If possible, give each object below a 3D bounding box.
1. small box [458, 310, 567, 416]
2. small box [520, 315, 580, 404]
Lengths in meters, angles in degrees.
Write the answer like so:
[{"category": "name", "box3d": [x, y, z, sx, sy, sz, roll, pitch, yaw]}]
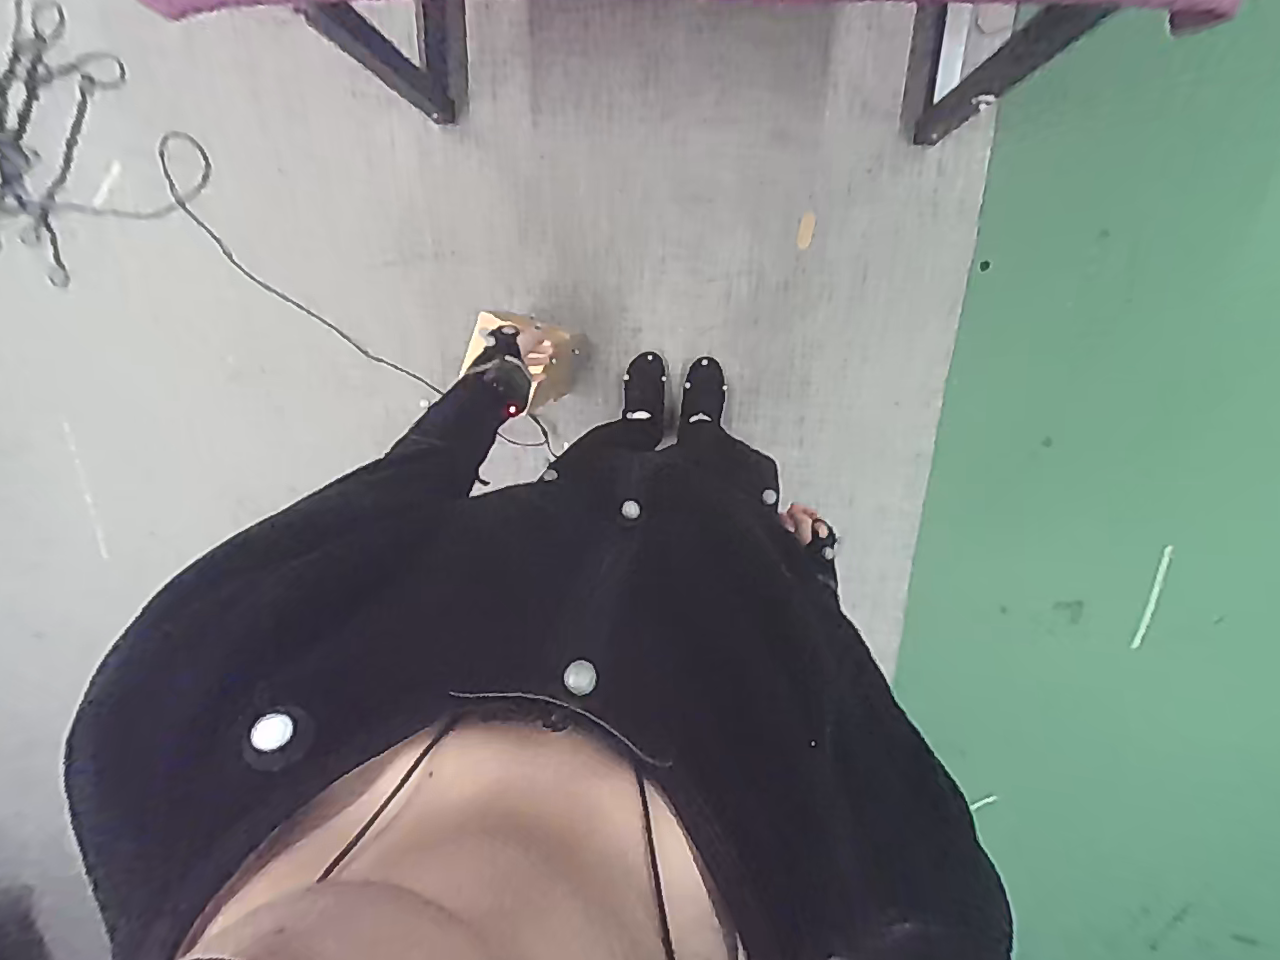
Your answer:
[{"category": "small box", "box3d": [-0.280, -0.266, 1.221, 0.168, 0.176, 0.179, 24, 106, -1]}, {"category": "small box", "box3d": [-0.259, -0.312, 1.375, 0.168, 0.176, 0.179, 18, 108, 0]}]
